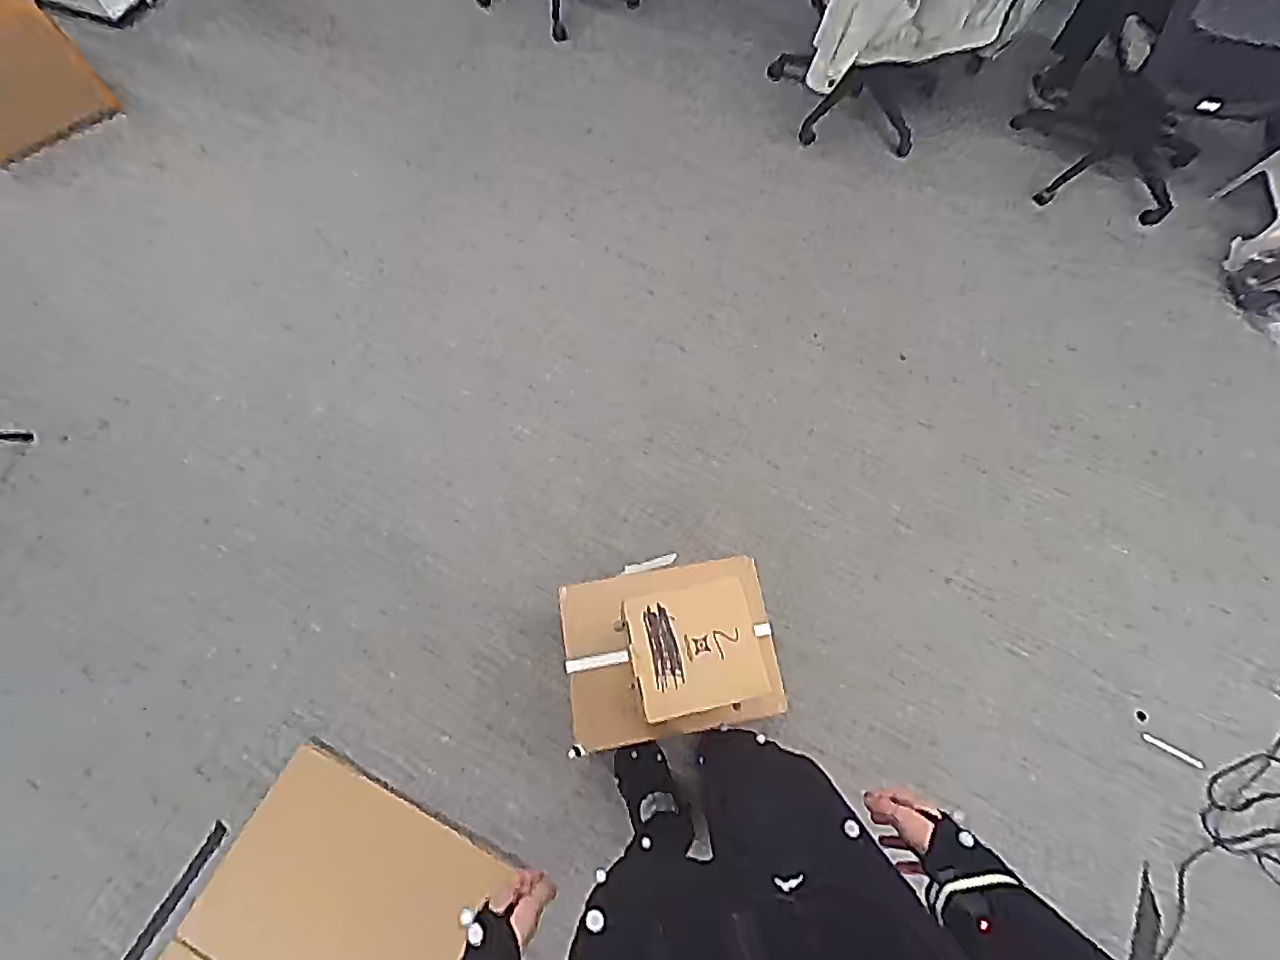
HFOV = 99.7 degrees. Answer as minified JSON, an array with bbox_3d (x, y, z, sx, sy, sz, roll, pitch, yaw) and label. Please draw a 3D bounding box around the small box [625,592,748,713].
[{"bbox_3d":[0.074,0.312,0.967,0.179,0.176,0.168,-11,70,-7],"label":"small box"}]
